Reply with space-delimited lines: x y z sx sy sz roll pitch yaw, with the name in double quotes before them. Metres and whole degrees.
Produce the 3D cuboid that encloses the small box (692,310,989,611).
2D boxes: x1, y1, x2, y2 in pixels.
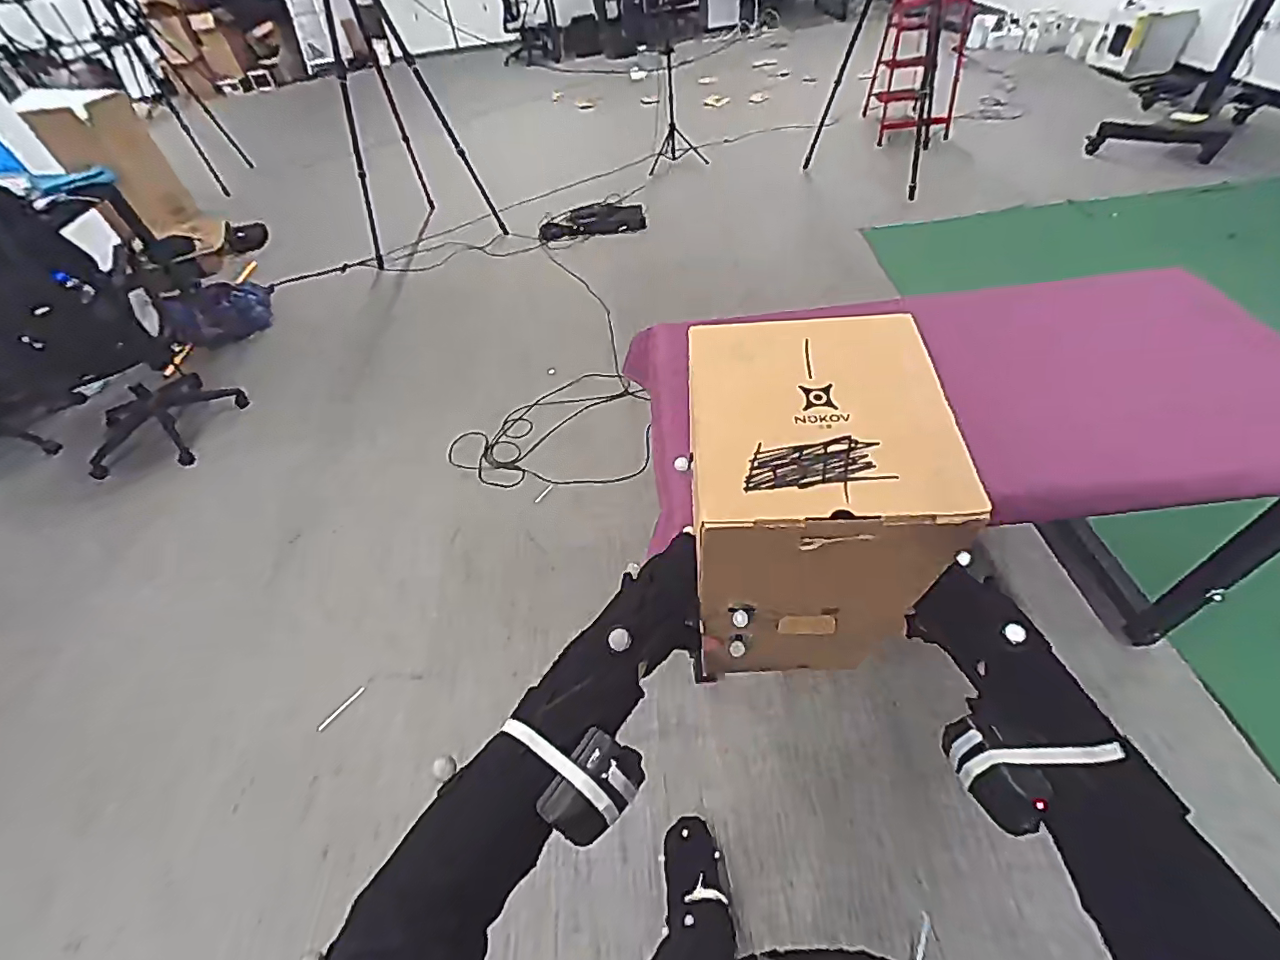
"small box" 0.126 -0.008 0.419 0.168 0.176 0.179 1 58 5
